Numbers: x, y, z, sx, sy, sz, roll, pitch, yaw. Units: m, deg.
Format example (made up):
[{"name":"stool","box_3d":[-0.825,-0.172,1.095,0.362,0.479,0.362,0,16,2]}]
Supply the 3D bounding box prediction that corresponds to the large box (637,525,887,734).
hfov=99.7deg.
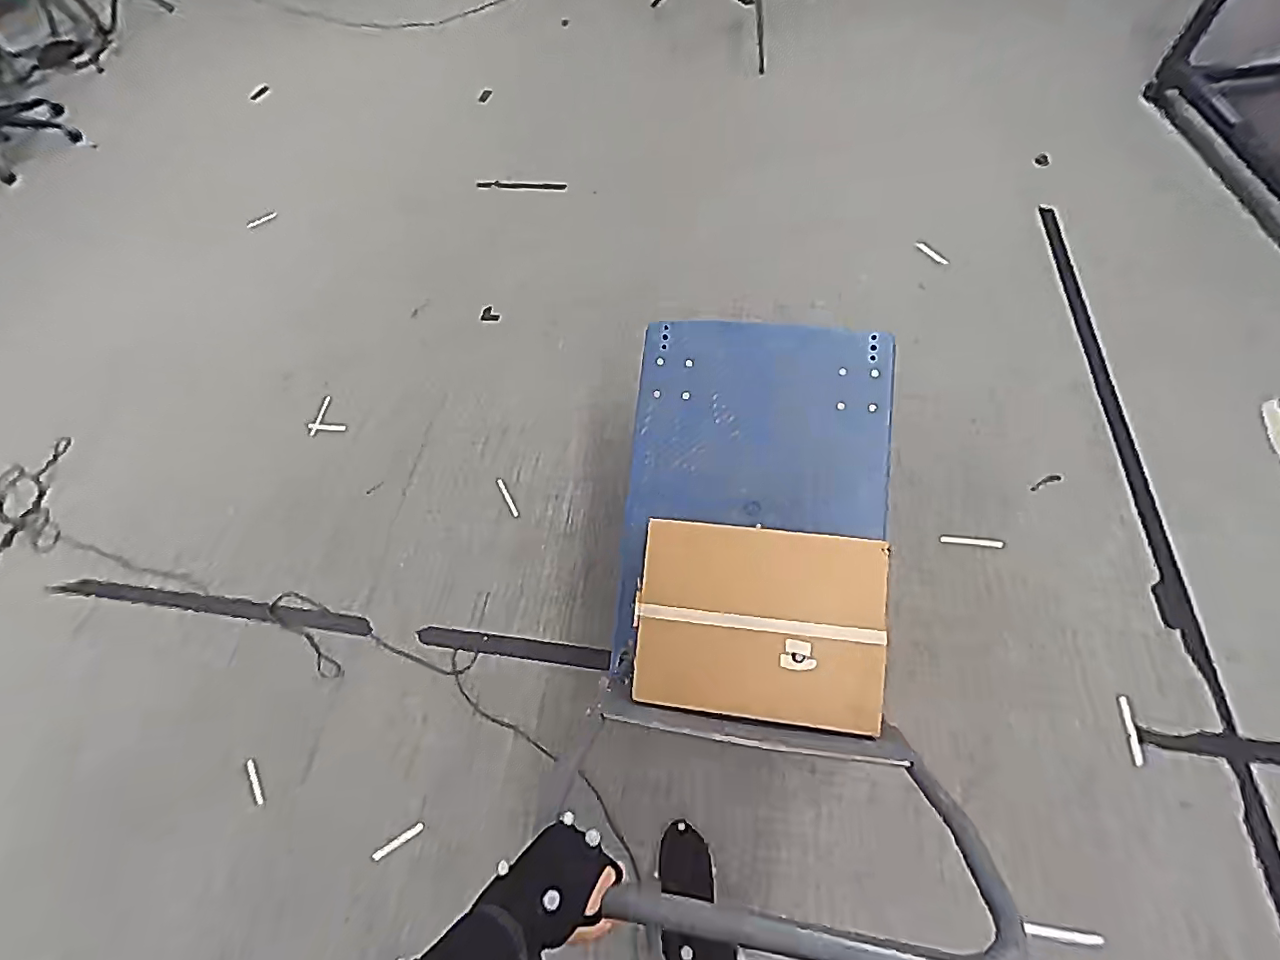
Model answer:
[{"name":"large box","box_3d":[0.220,0.264,1.057,0.408,0.320,0.320,5,84,8]}]
